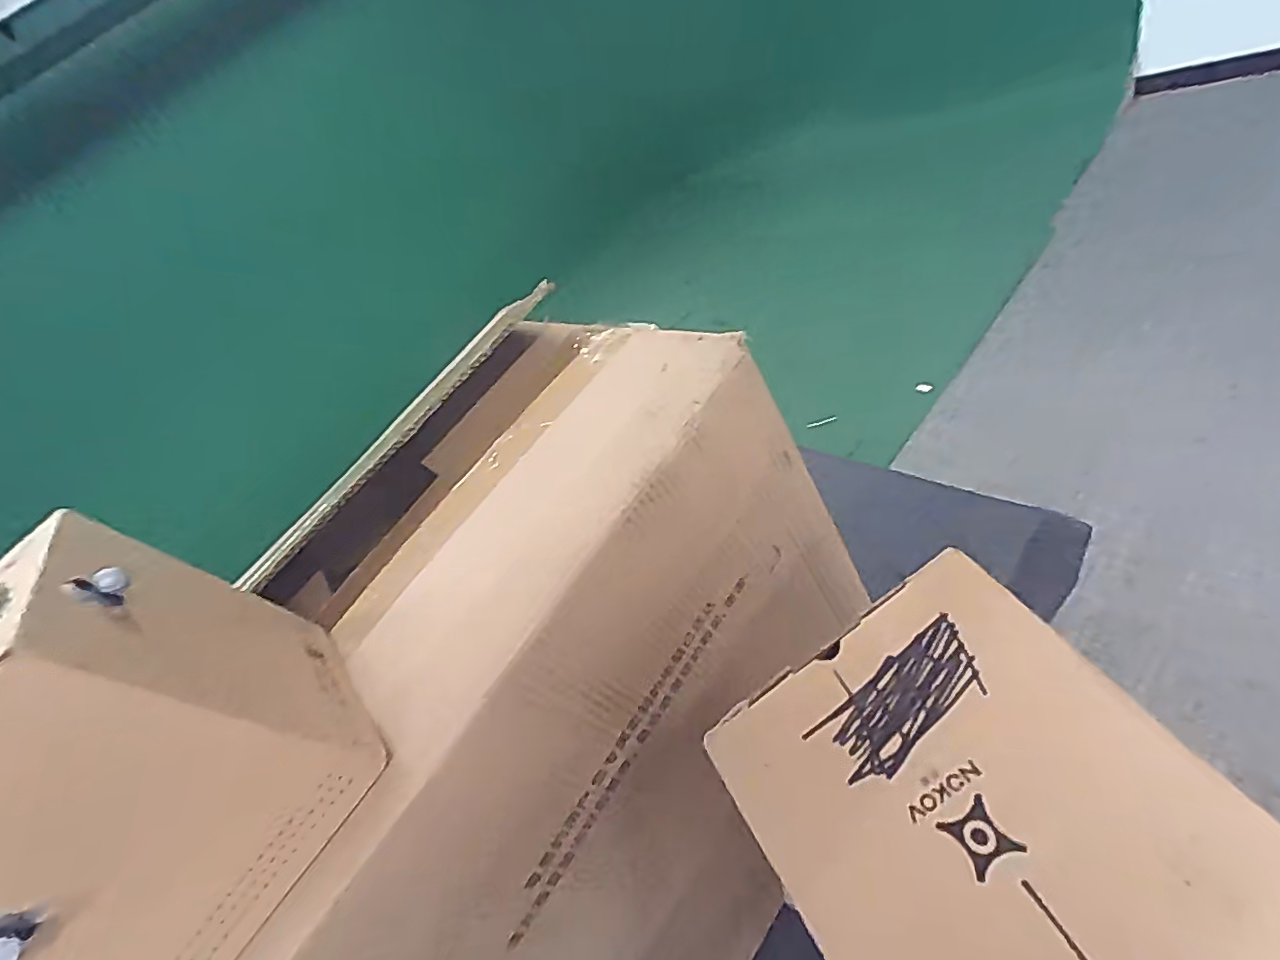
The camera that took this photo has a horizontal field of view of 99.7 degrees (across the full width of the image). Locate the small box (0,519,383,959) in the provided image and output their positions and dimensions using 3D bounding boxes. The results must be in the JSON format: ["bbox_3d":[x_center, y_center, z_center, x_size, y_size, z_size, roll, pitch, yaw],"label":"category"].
[{"bbox_3d":[-0.276,0.154,0.280,0.168,0.176,0.179,21,69,45],"label":"small box"}]
